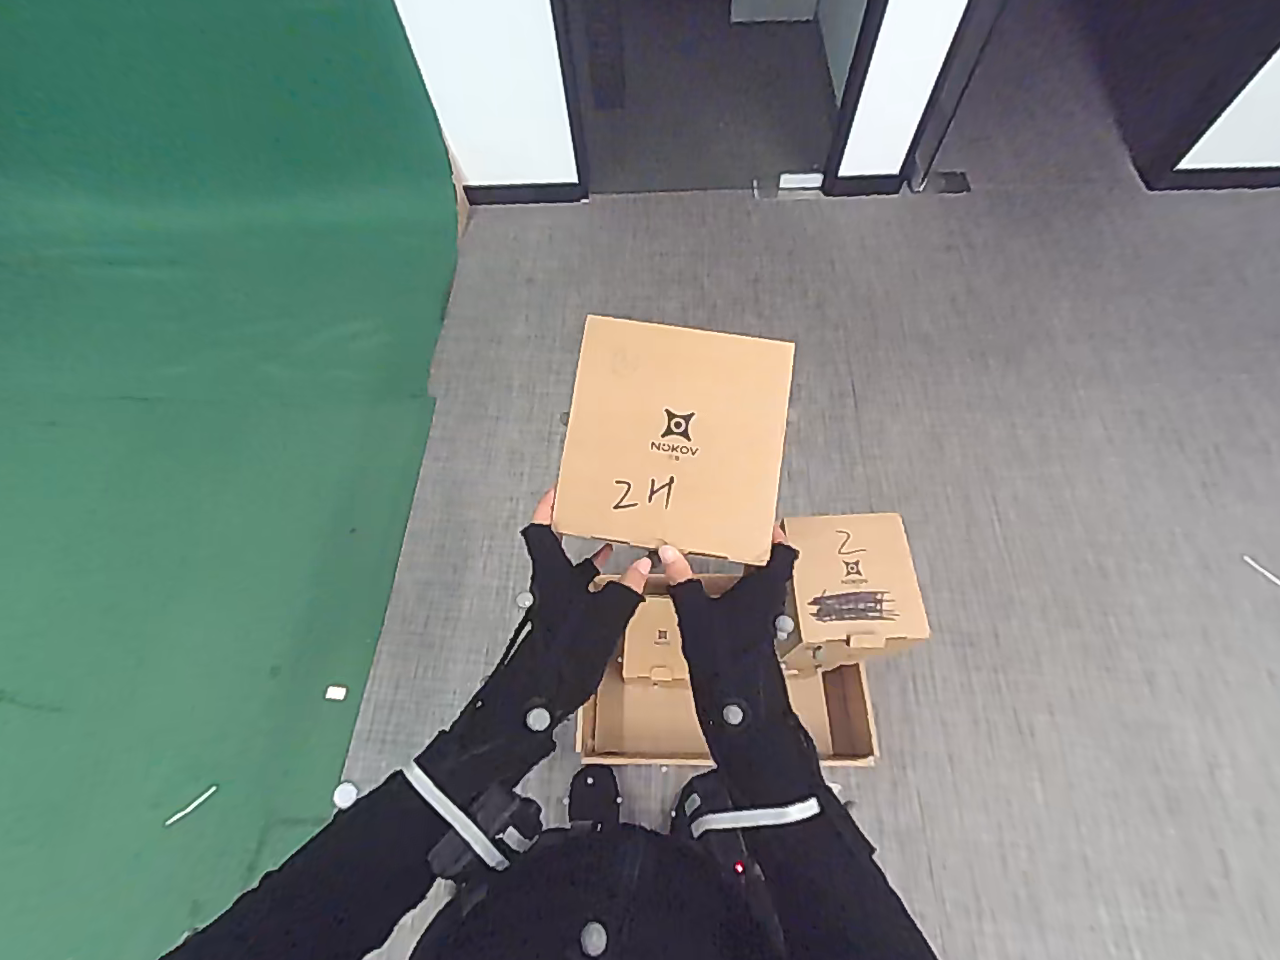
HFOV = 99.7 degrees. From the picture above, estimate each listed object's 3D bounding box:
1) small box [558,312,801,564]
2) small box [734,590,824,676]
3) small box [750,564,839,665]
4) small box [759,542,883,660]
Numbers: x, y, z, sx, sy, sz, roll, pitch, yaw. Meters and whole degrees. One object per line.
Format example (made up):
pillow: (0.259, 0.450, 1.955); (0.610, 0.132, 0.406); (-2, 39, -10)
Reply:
small box: (0.033, -0.025, 0.489); (0.168, 0.176, 0.179); (9, 83, 2)
small box: (0.314, 0.354, 1.249); (0.168, 0.176, 0.179); (-5, 64, 3)
small box: (0.316, 0.274, 1.086); (0.168, 0.176, 0.179); (-1, 64, 4)
small box: (0.306, 0.217, 0.951); (0.168, 0.176, 0.179); (0, 64, 3)
